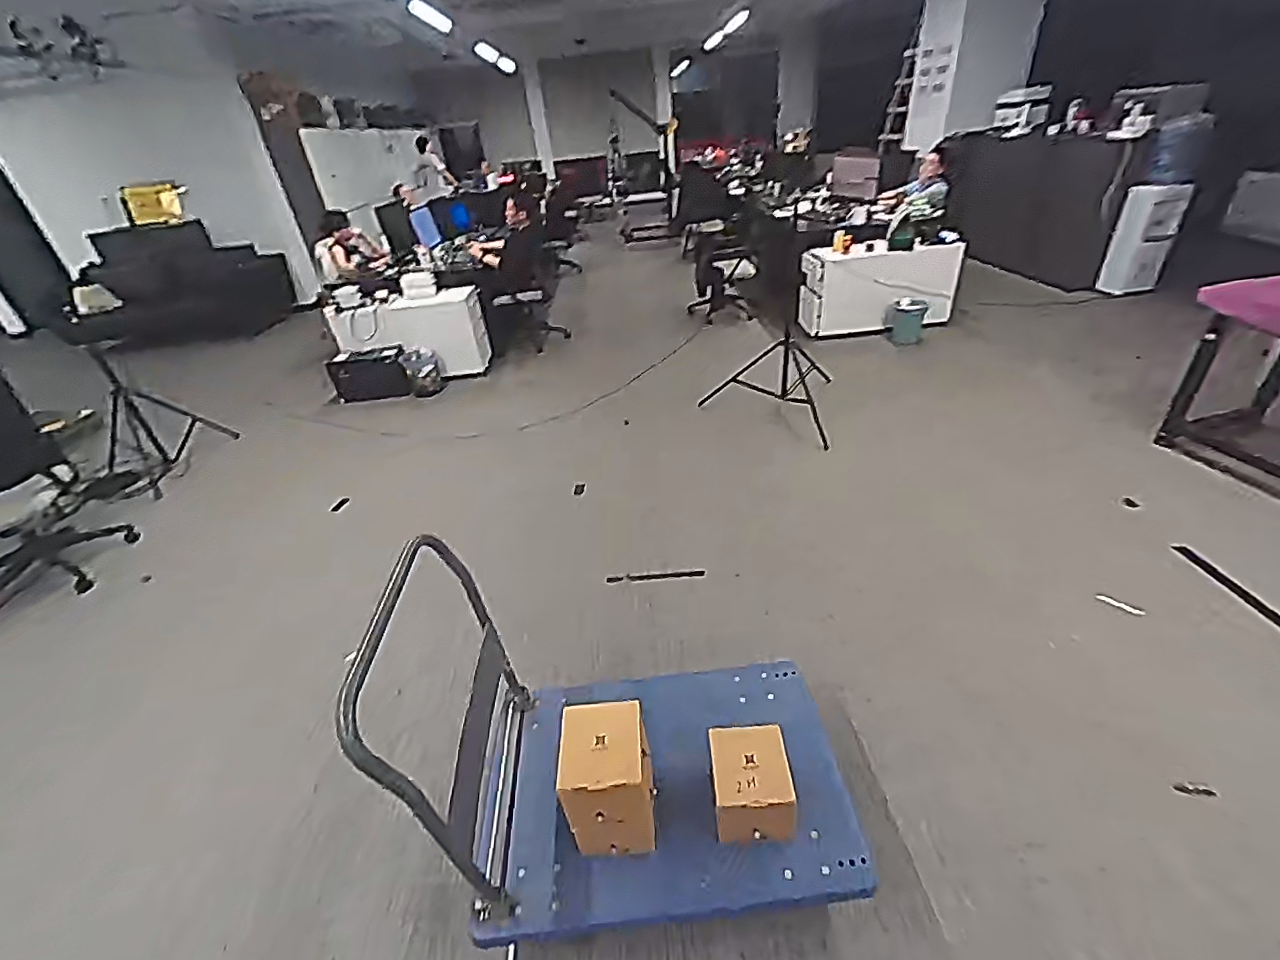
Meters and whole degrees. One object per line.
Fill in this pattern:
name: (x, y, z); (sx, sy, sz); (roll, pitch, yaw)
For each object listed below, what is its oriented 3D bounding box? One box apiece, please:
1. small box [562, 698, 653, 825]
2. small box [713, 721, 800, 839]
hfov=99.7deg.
small box: (-0.064, 0.587, 1.131); (0.168, 0.176, 0.179); (-6, 34, 1)
small box: (0.257, 0.680, 1.229); (0.168, 0.176, 0.179); (-5, 33, 3)
